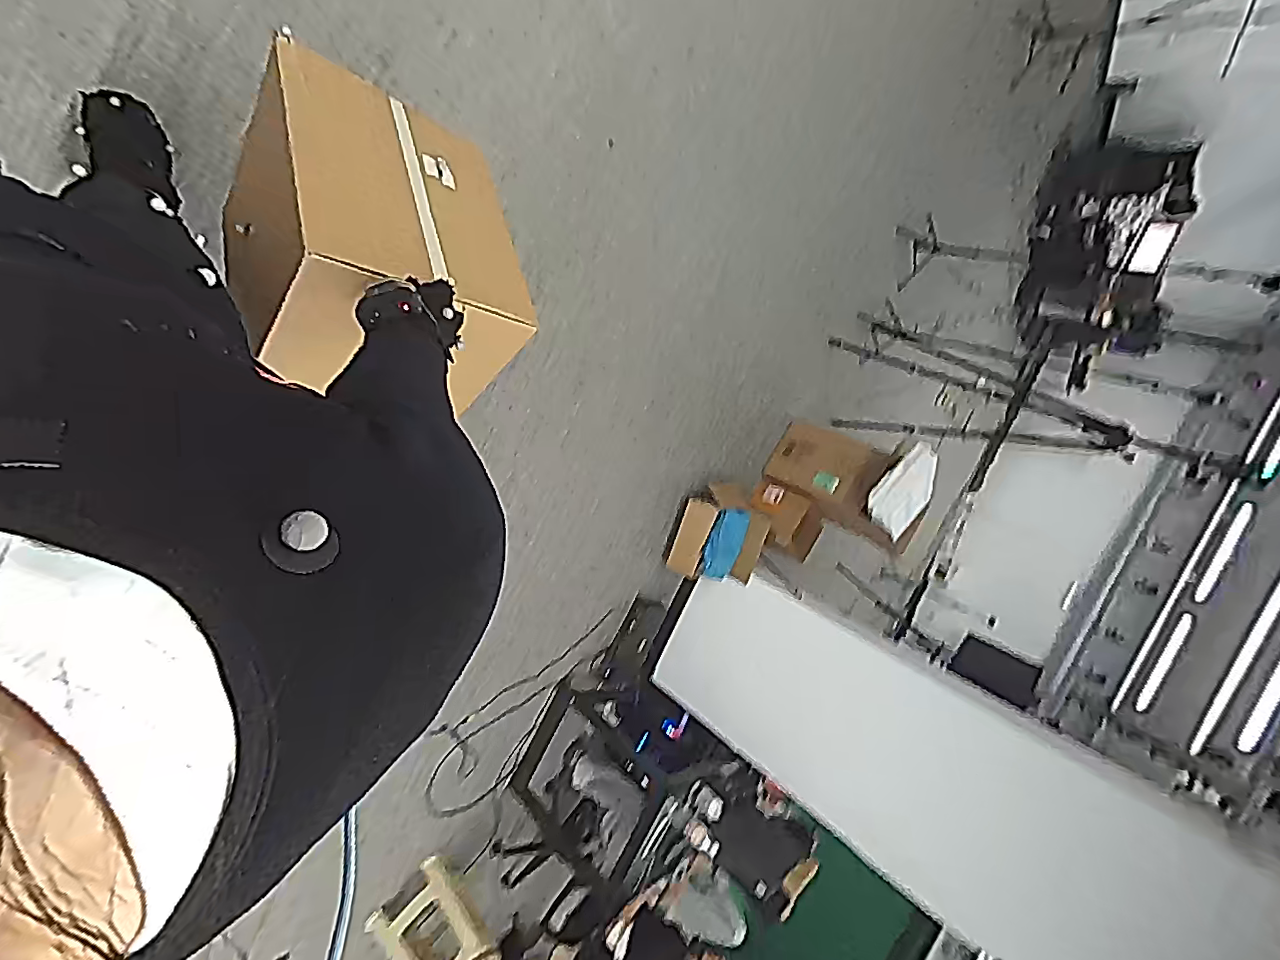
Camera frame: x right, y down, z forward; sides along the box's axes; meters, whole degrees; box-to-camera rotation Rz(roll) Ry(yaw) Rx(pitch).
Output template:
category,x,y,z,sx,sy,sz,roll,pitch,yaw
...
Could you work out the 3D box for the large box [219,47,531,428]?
category,x,y,z,sx,sy,sz,roll,pitch,yaw
large box,-0.433,-0.336,0.858,0.320,0.408,0.320,-36,155,33
